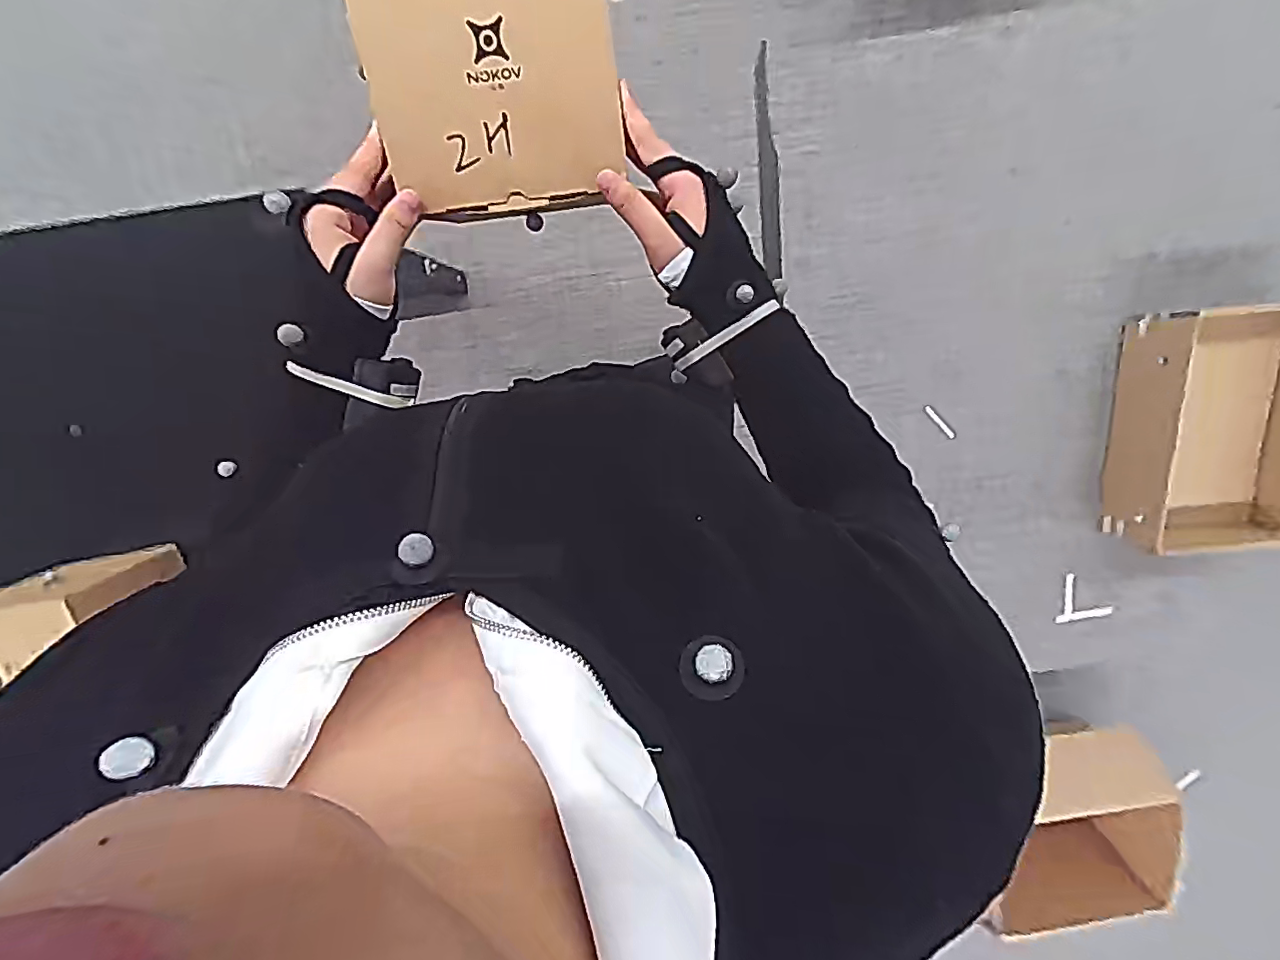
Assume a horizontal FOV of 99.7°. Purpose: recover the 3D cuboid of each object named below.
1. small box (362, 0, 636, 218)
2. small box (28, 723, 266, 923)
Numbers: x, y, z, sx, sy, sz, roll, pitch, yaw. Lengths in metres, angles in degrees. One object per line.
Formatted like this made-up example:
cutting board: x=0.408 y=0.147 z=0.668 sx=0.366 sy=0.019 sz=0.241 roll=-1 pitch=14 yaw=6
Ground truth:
small box: x=-0.097 y=-0.314 z=0.426 sx=0.168 sy=0.176 sz=0.179 roll=-7 pitch=114 yaw=-1
small box: x=-0.674 y=0.476 z=0.771 sx=0.179 sy=0.176 sz=0.168 roll=-7 pitch=104 yaw=0
